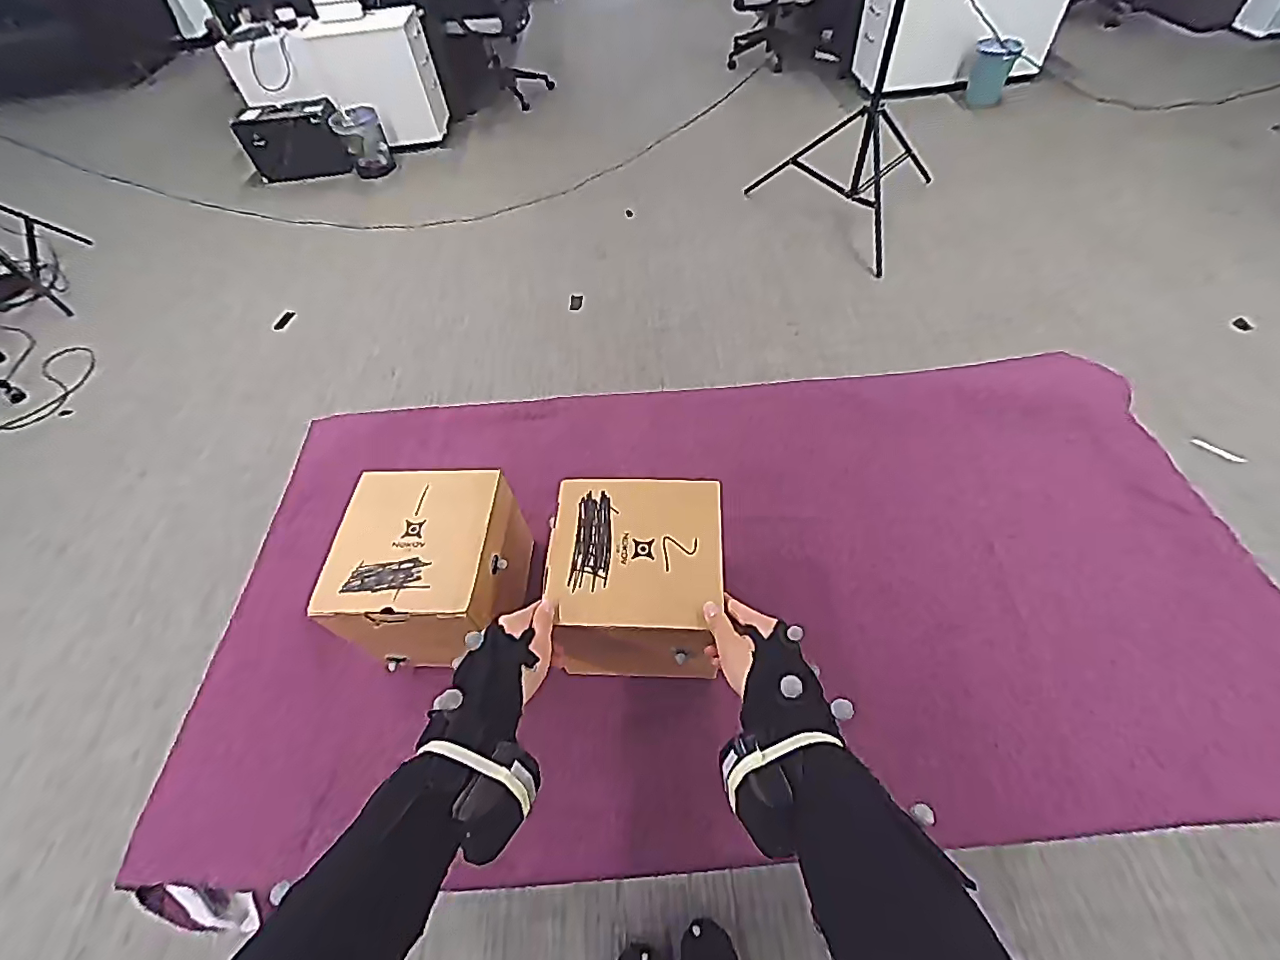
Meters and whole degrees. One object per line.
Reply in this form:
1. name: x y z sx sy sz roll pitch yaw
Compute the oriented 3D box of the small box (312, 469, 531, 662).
1. small box: -0.236 0.106 0.640 0.168 0.176 0.179 -1 53 4
